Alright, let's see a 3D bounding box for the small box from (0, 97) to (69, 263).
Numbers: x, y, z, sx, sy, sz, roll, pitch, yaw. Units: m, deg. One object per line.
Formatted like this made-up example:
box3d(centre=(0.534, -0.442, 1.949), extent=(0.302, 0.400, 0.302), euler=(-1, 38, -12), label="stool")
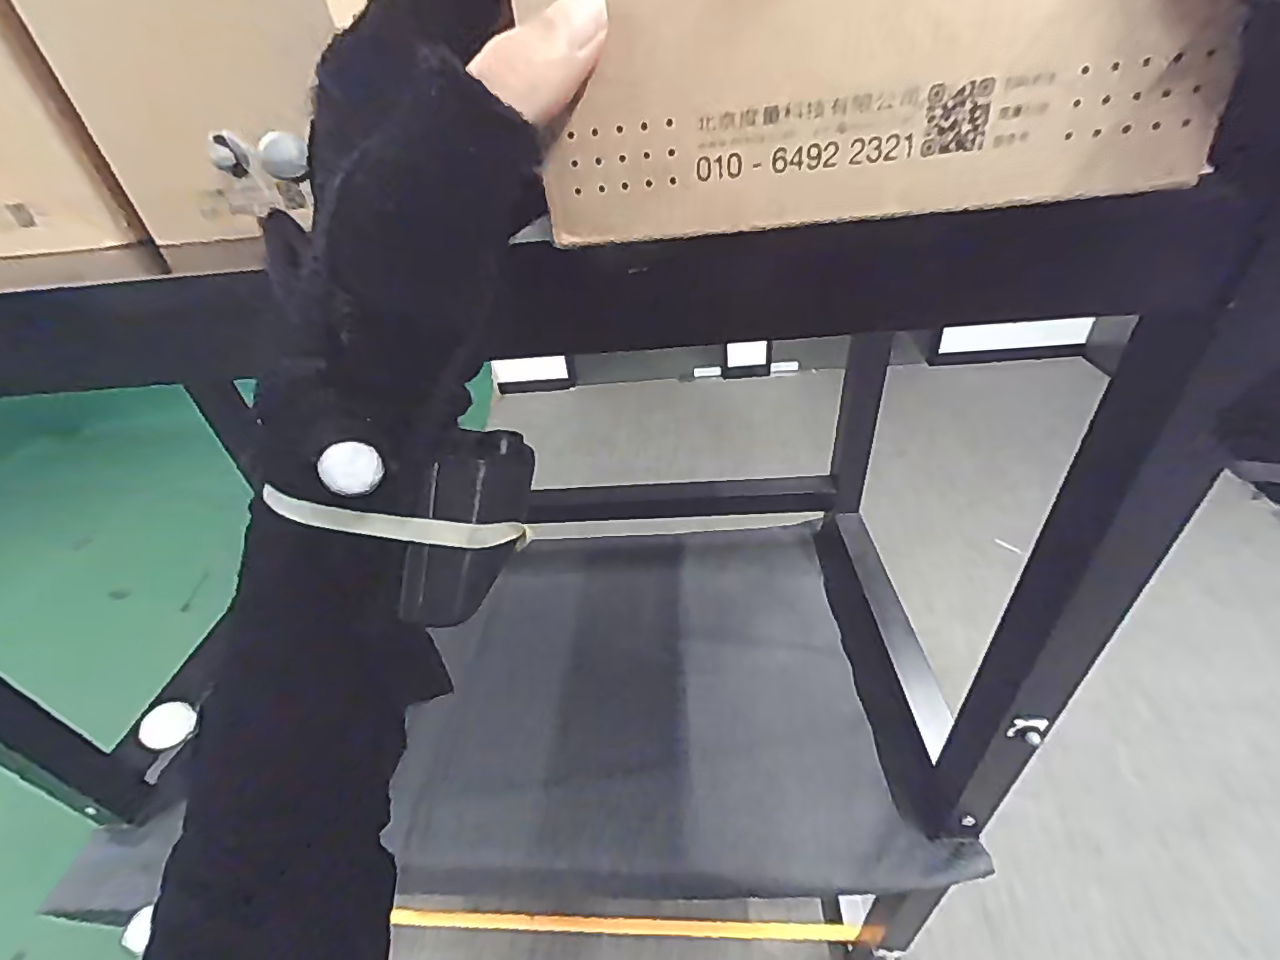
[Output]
box3d(centre=(-0.606, -0.240, 0.404), extent=(0.168, 0.176, 0.179), euler=(-2, 37, 7), label="small box")
